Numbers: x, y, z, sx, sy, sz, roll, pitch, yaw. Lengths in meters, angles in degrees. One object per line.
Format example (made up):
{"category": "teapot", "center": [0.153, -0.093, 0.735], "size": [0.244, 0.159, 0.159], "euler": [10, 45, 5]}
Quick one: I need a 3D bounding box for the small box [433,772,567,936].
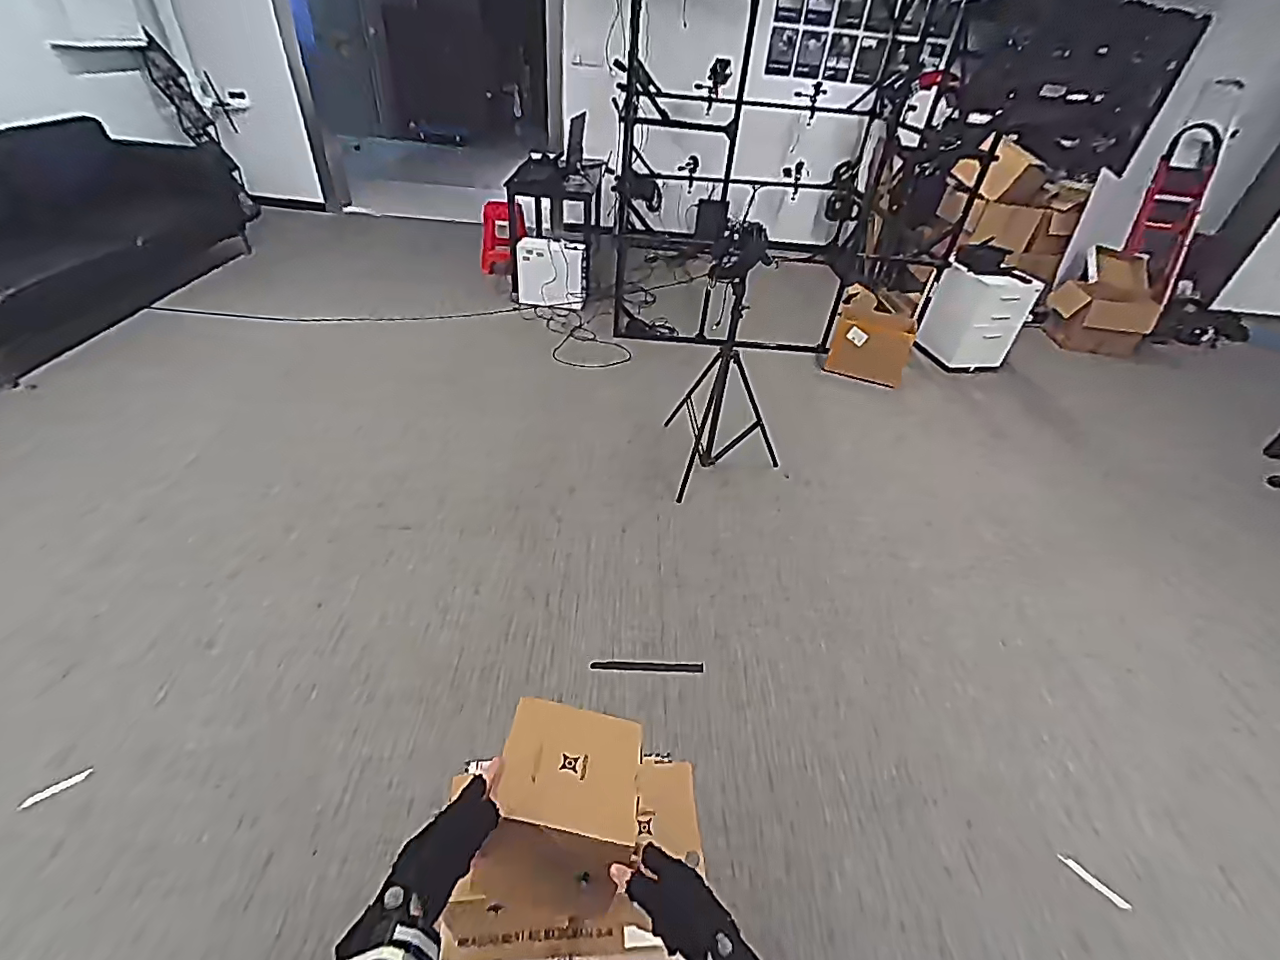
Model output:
{"category": "small box", "center": [-0.199, 0.568, 0.829], "size": [0.179, 0.176, 0.168], "euler": [-1, 38, -7]}

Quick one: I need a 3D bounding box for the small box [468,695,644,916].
{"category": "small box", "center": [-0.103, 0.414, 0.691], "size": [0.179, 0.176, 0.168], "euler": [14, 25, -3]}

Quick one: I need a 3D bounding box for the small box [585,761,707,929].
{"category": "small box", "center": [-0.002, 0.571, 0.852], "size": [0.168, 0.176, 0.179], "euler": [3, 37, -7]}
